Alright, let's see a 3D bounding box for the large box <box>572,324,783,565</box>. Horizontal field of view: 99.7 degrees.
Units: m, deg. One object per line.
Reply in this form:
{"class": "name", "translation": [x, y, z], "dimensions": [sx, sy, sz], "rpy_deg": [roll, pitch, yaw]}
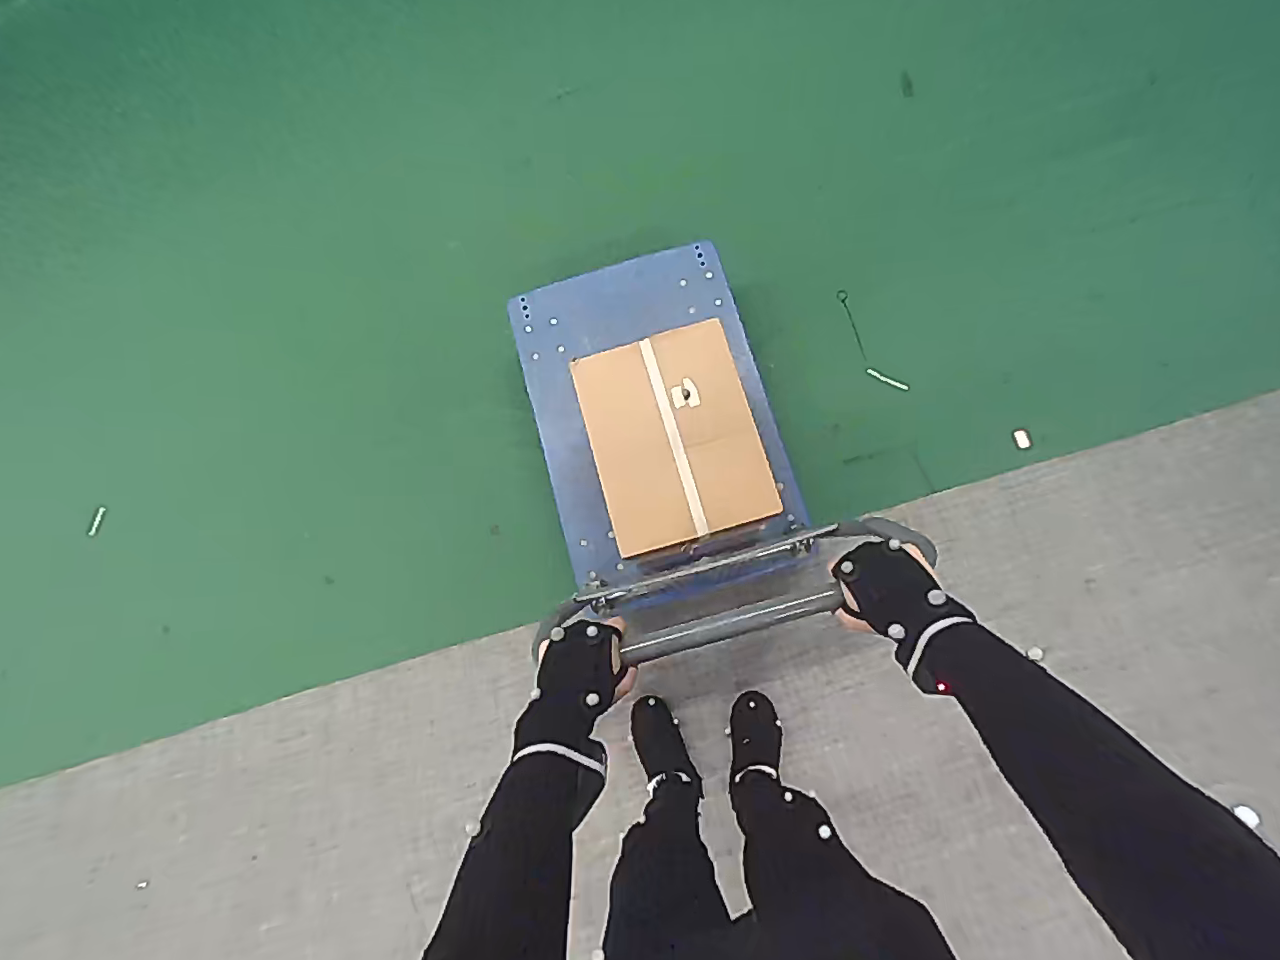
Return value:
{"class": "large box", "translation": [0.078, -0.053, 1.179], "dimensions": [0.320, 0.320, 0.408], "rpy_deg": [-16, 78, 1]}
